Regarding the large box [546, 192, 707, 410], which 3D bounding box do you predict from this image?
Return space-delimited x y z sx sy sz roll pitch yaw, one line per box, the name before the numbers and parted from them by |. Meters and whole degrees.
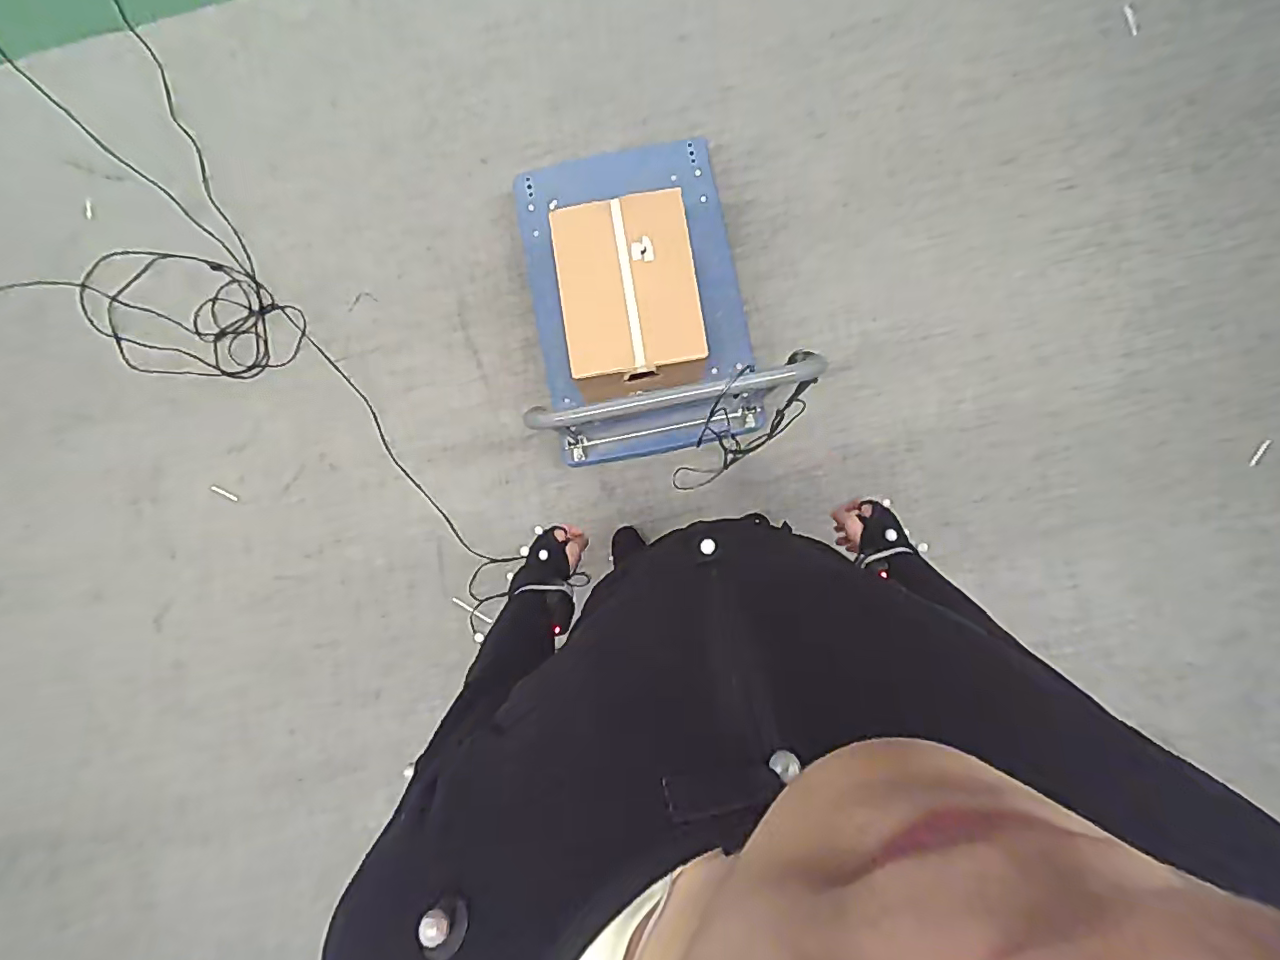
large box | -0.027 -0.424 1.364 0.320 0.320 0.408 -9 85 1
